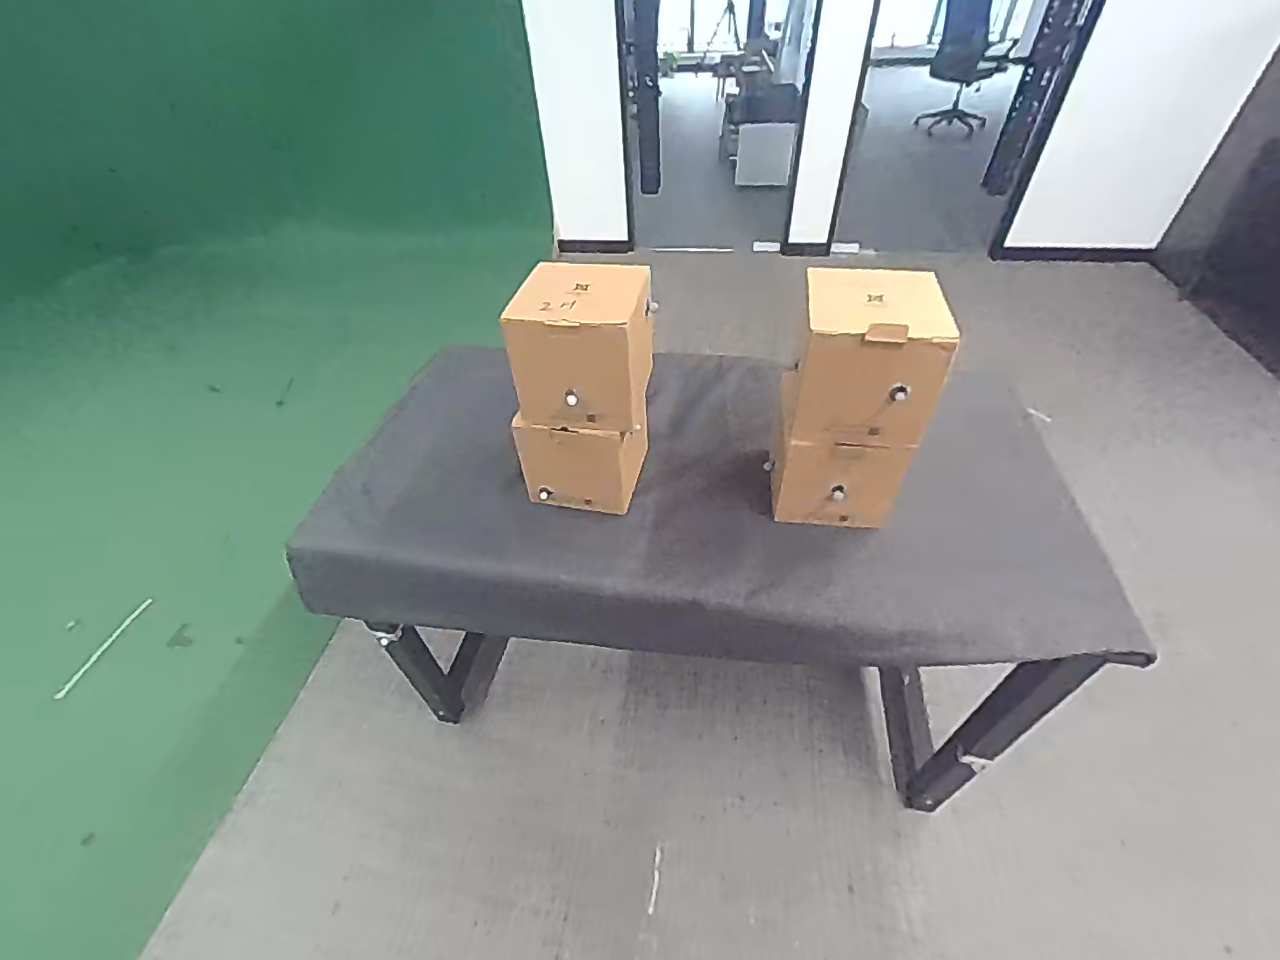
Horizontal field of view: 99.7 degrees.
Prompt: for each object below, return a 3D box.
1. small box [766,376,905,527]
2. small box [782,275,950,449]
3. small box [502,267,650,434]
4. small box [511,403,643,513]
[{"bbox_3d":[0.293,-0.043,0.849,0.168,0.176,0.179,4,45,7],"label":"small box"},{"bbox_3d":[0.291,-0.160,0.736,0.168,0.176,0.179,6,44,9],"label":"small box"},{"bbox_3d":[-0.080,-0.189,0.784,0.168,0.176,0.179,5,44,9],"label":"small box"},{"bbox_3d":[-0.090,-0.066,0.894,0.168,0.176,0.179,8,44,10],"label":"small box"}]
